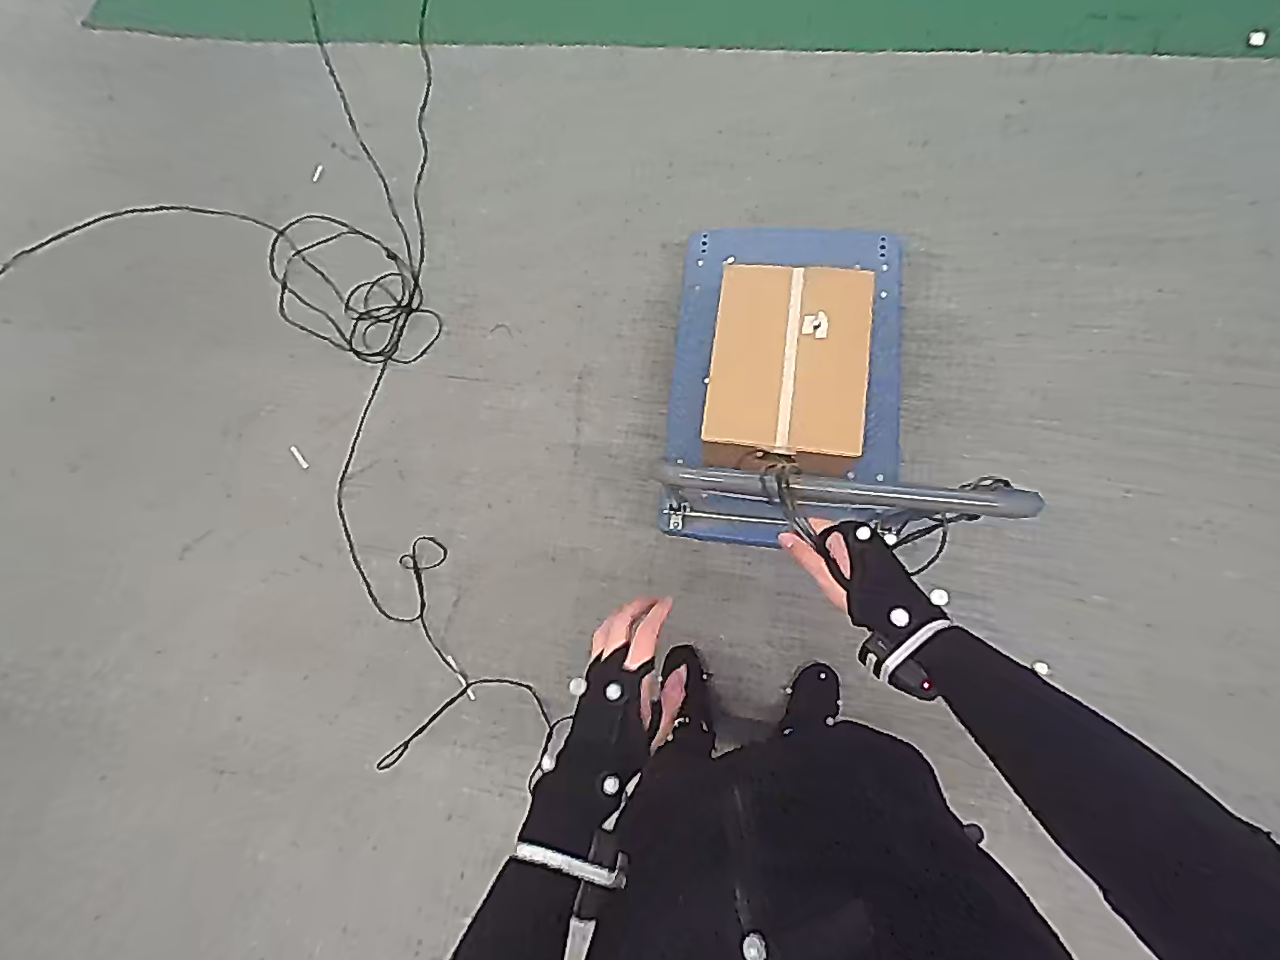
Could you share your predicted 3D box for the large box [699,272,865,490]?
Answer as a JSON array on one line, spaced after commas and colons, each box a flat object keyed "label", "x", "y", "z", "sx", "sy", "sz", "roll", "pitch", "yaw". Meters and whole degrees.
[{"label": "large box", "x": 0.316, "y": -0.211, "z": 1.252, "sx": 0.320, "sy": 0.320, "sz": 0.408, "roll": 7, "pitch": 77, "yaw": 9}]
